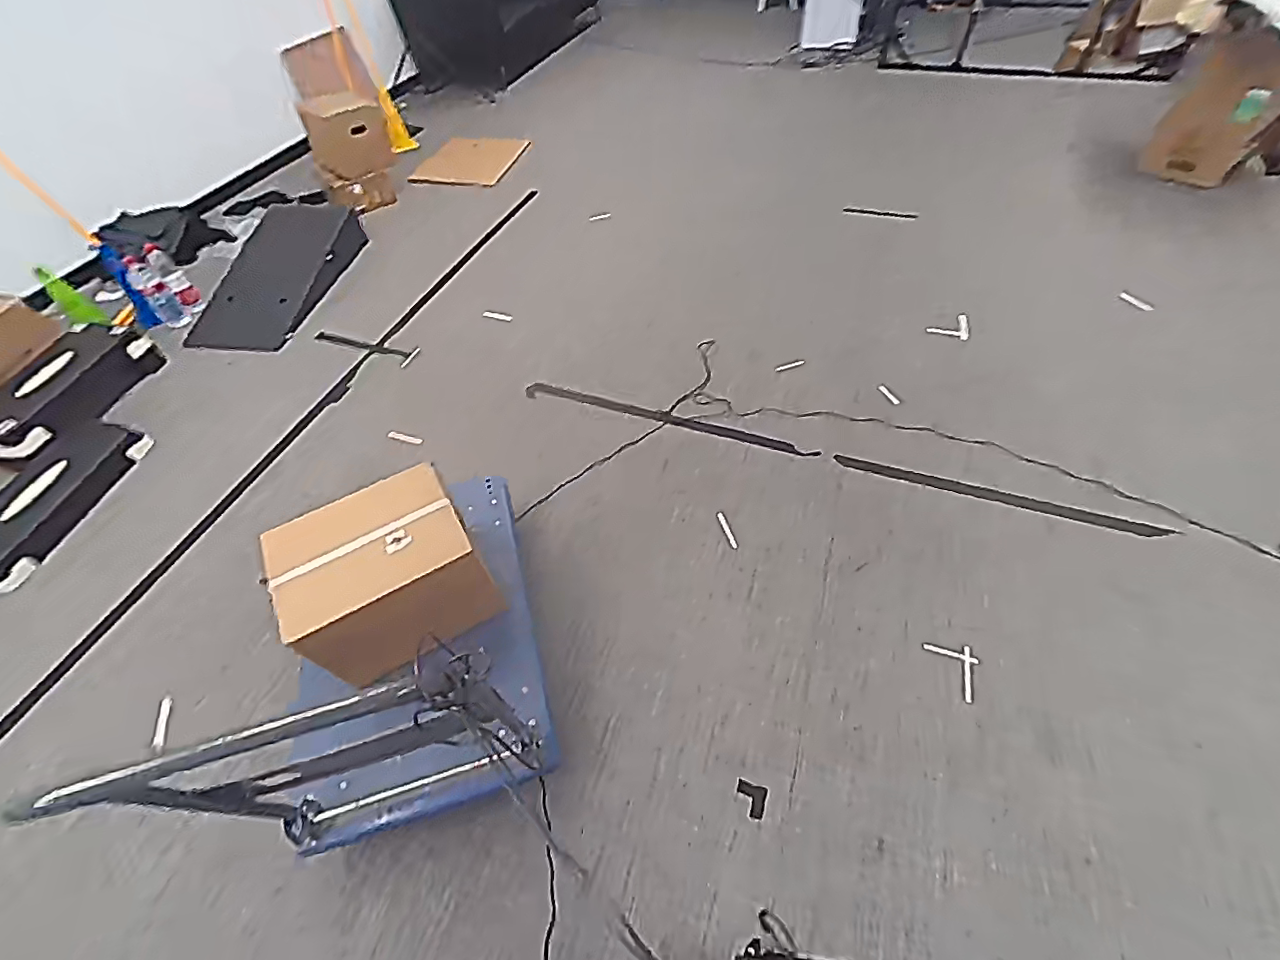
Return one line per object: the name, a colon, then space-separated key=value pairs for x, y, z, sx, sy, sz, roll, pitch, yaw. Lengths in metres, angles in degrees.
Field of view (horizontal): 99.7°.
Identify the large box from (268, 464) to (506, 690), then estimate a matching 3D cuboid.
large box: x=-0.602 y=0.237 z=1.330 sx=0.408 sy=0.320 sz=0.320 roll=-27 pitch=56 yaw=-17
